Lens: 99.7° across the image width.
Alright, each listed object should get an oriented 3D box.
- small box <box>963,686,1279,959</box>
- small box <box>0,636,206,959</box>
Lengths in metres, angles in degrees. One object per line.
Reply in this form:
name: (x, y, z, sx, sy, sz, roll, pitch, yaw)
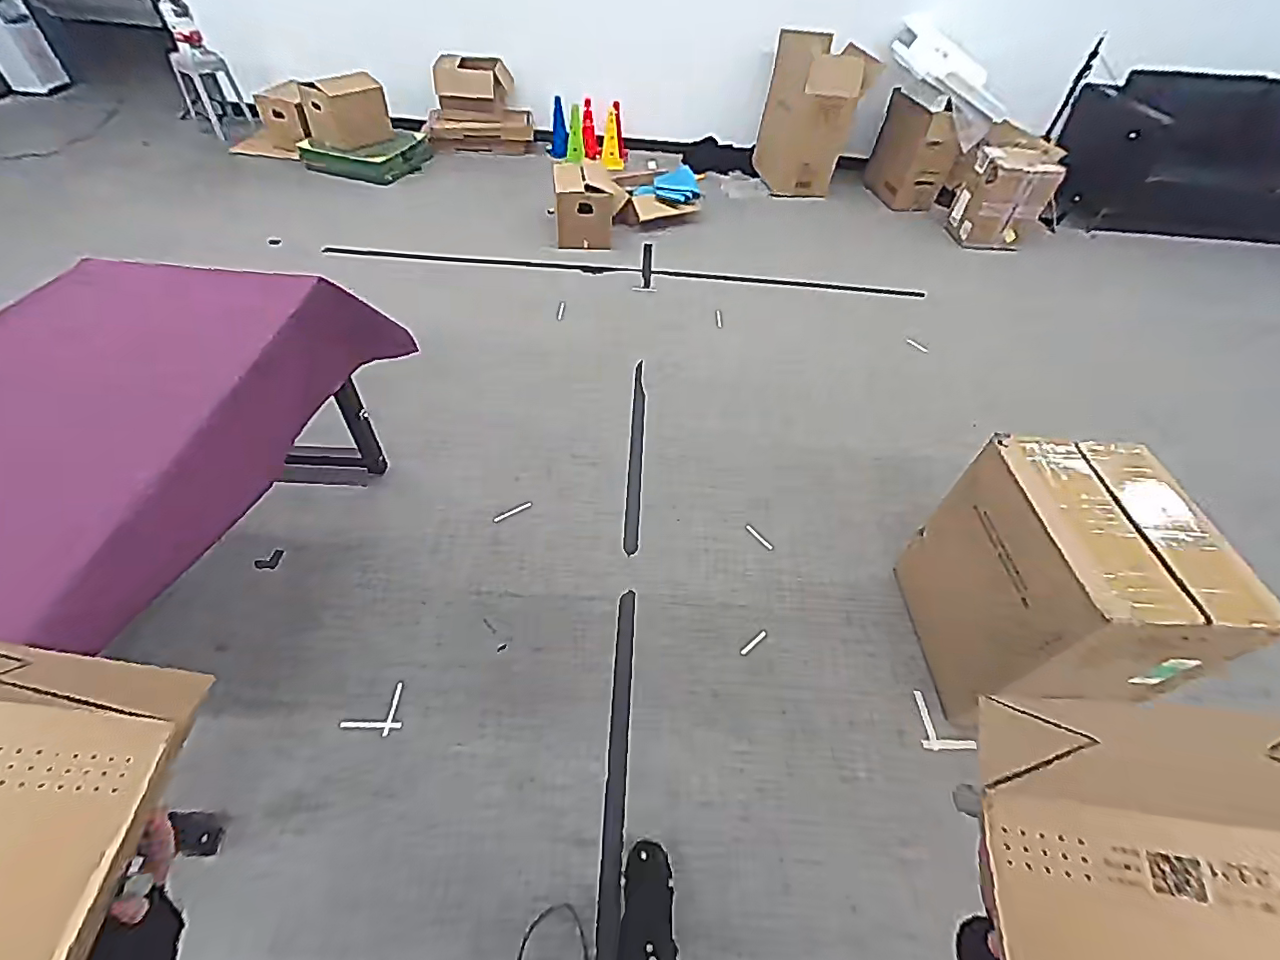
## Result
small box: (0.261, 0.198, 0.251, 0.168, 0.179, 0.176, -12, 79, 32)
small box: (-0.357, 0.176, 0.273, 0.179, 0.168, 0.176, 23, 67, -27)
